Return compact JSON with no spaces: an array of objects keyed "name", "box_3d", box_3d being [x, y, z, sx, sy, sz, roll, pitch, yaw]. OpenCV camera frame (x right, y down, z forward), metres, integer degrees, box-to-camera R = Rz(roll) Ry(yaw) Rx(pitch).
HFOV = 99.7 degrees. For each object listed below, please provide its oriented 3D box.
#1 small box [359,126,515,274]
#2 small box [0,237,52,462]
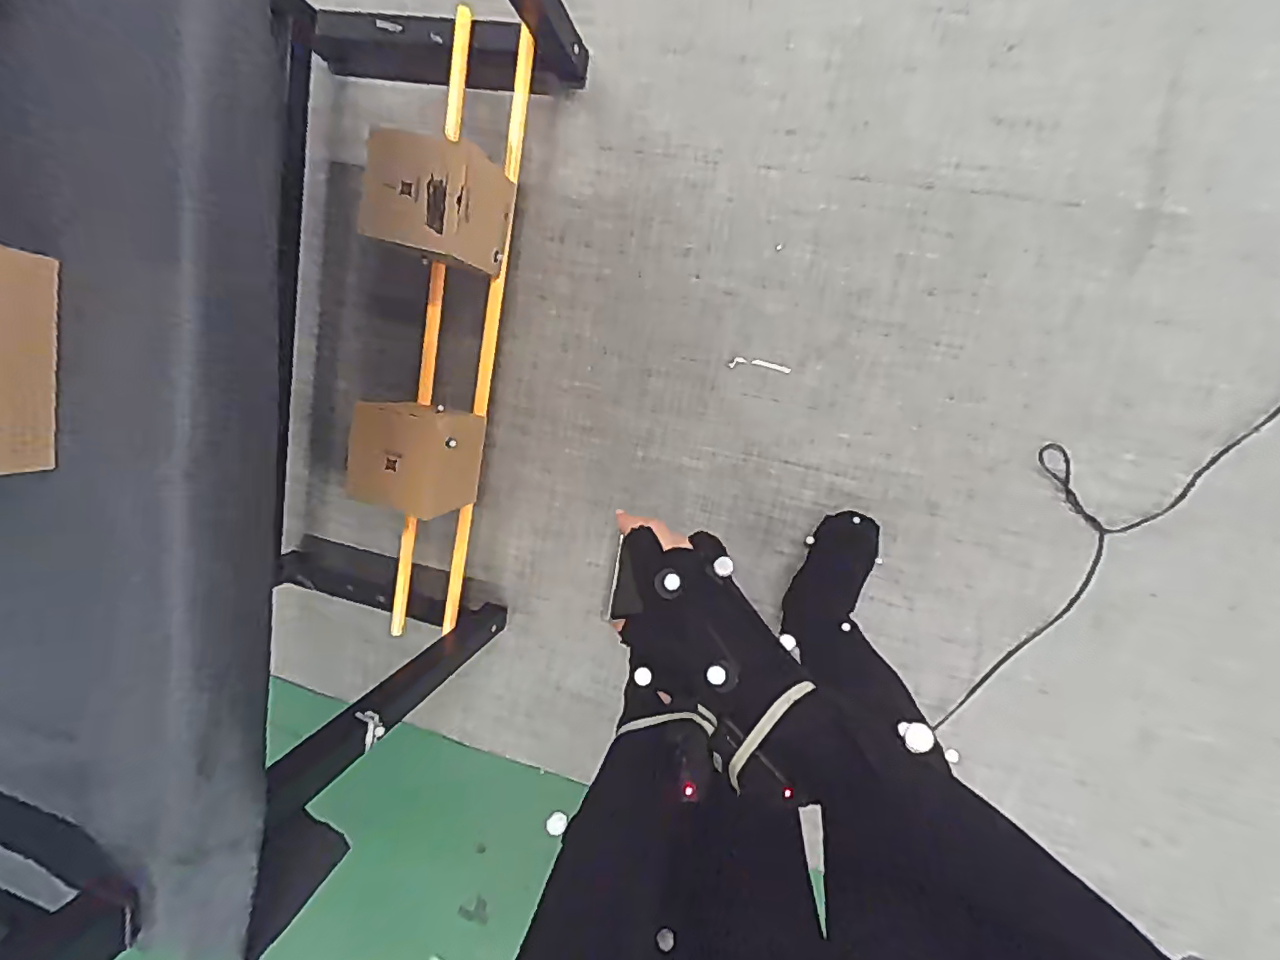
[{"name":"small box","box_3d":[-0.334,-0.460,0.915,0.179,0.176,0.168,16,101,10]},{"name":"small box","box_3d":[-0.572,-0.106,0.376,0.168,0.176,0.179,16,101,10]}]
